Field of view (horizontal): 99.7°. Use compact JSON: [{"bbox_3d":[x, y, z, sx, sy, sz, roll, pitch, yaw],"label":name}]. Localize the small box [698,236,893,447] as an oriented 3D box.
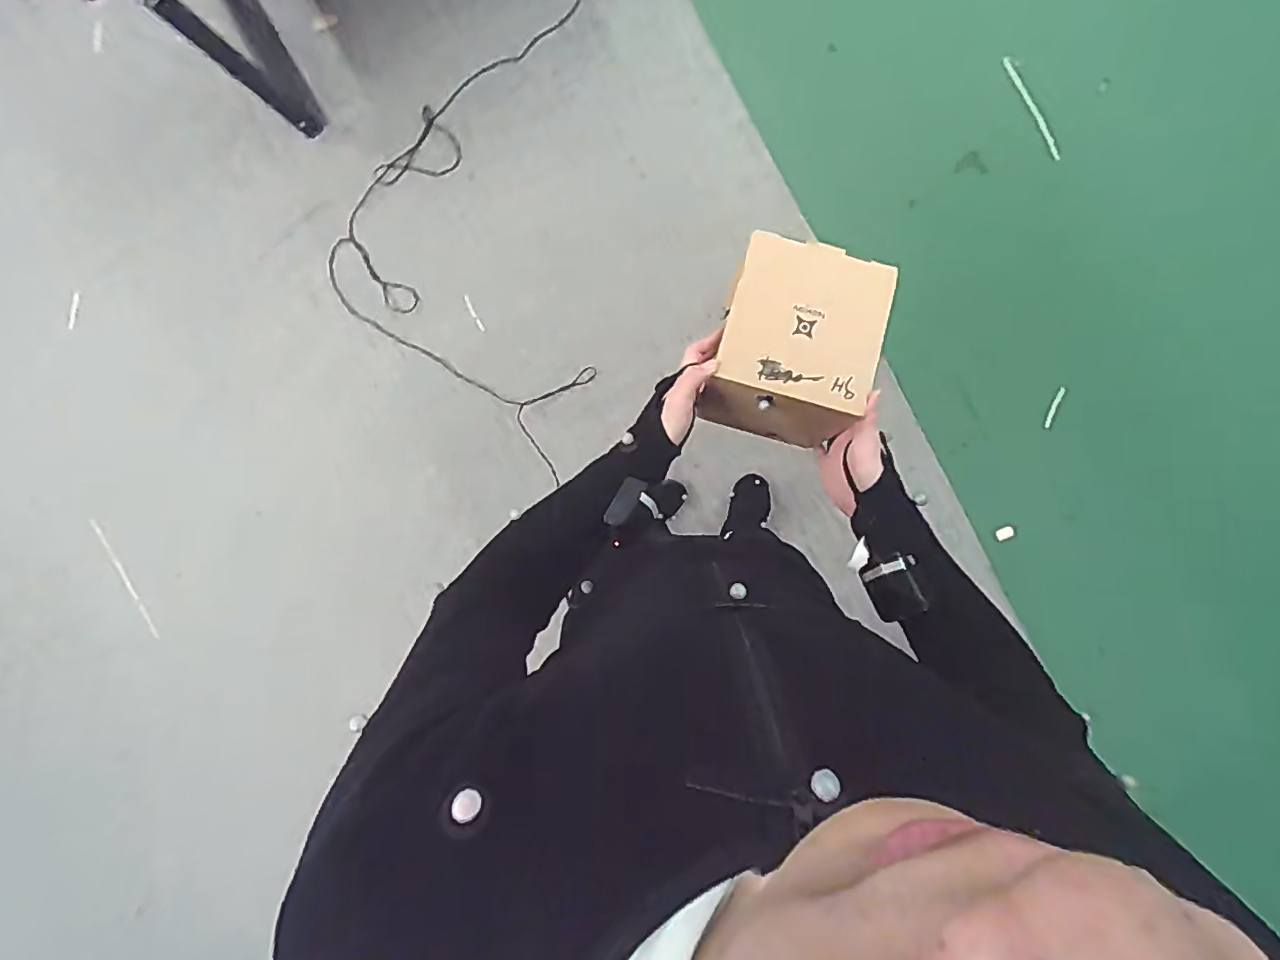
[{"bbox_3d":[0.175,-0.154,0.657,0.168,0.176,0.179,15,83,1],"label":"small box"}]
